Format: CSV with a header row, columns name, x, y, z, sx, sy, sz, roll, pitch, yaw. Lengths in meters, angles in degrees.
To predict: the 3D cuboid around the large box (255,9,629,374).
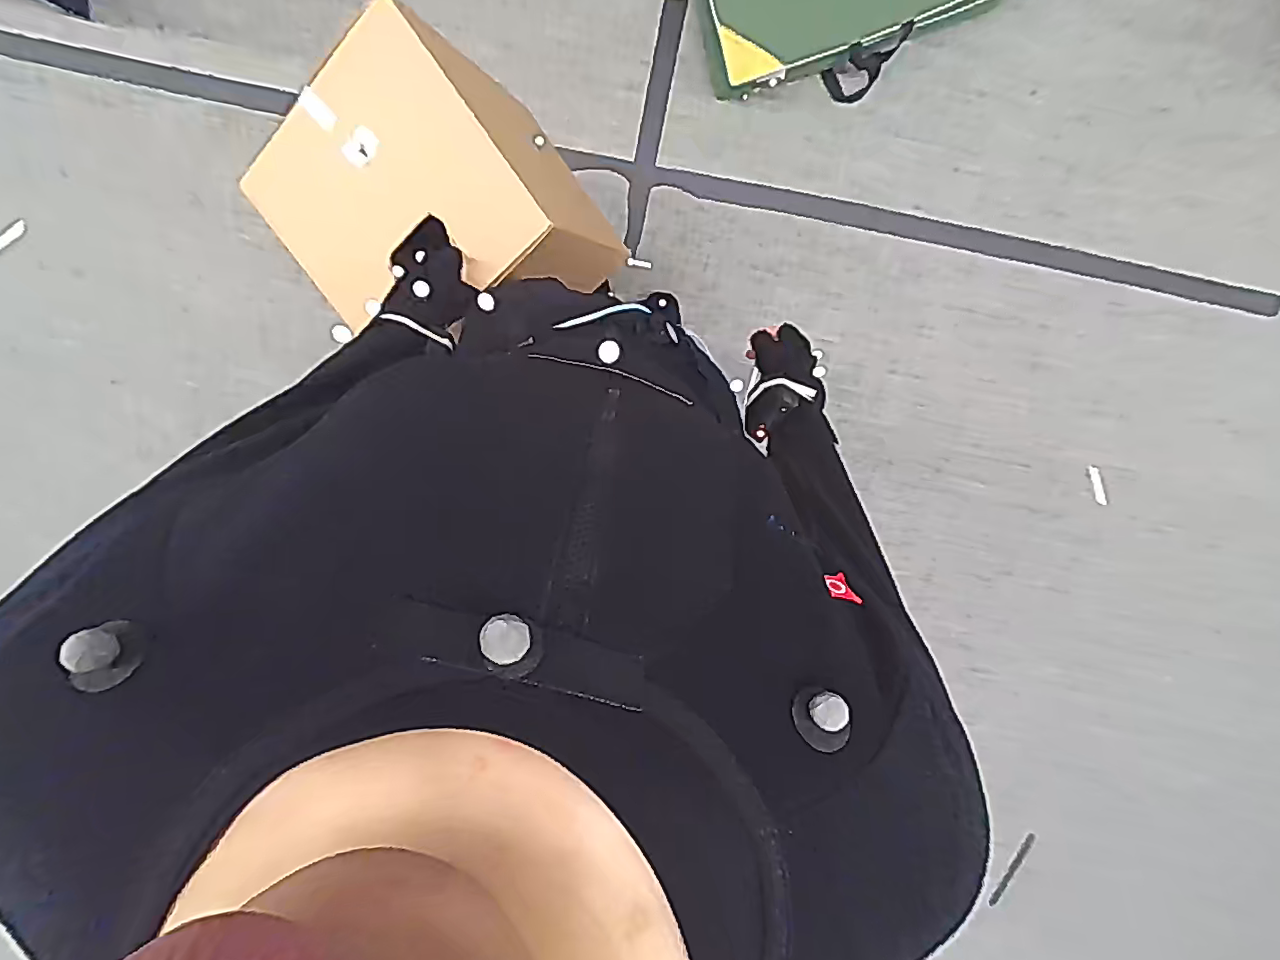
name,x,y,z,sx,sy,sz,roll,pitch,yaw
large box,-0.271,-0.404,0.860,0.320,0.408,0.320,-32,98,21
